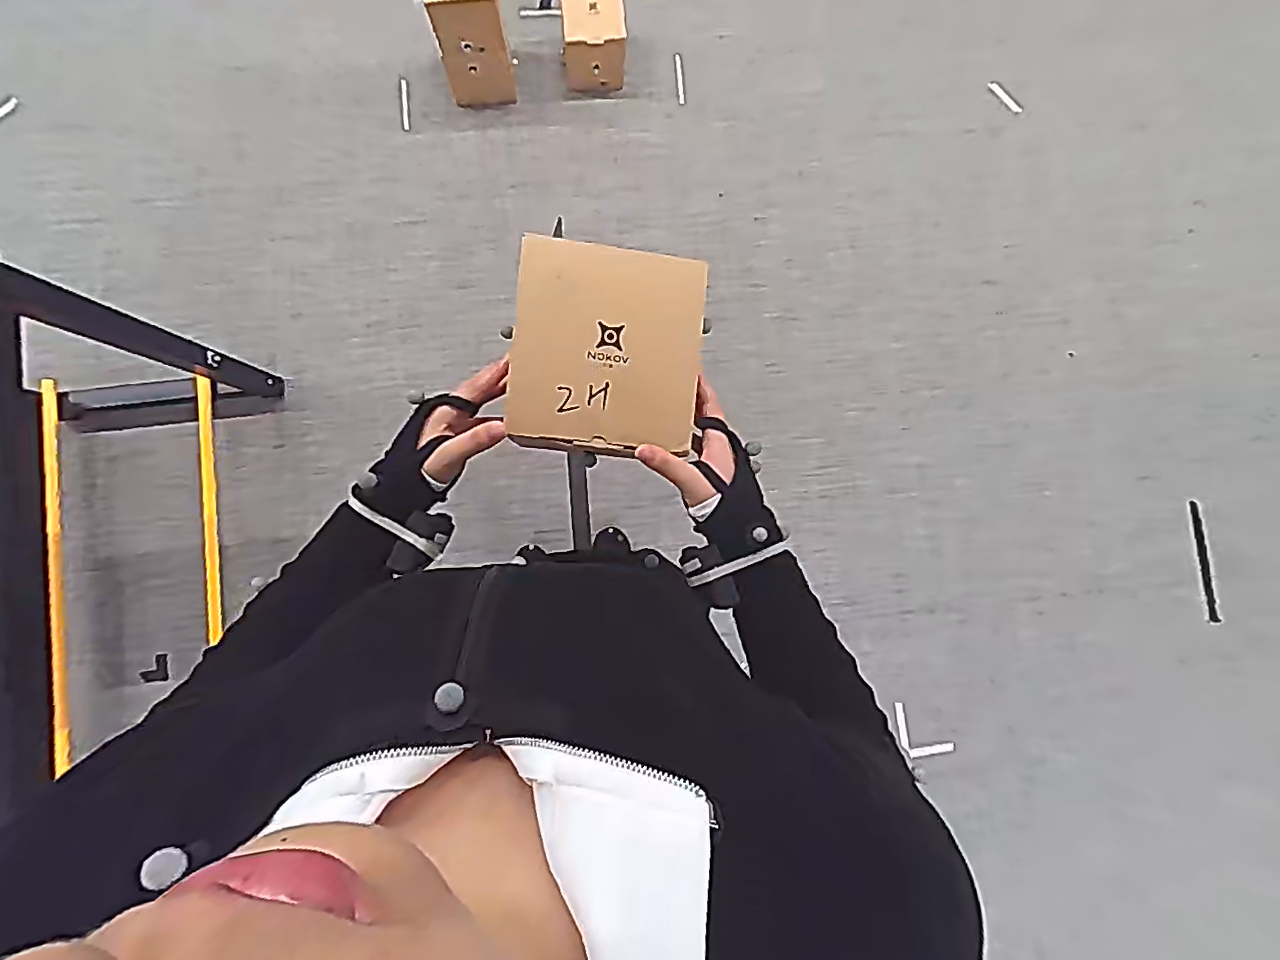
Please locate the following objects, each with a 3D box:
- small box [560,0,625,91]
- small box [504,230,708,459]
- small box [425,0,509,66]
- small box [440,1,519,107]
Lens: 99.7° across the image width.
[{"bbox_3d":[-0.130,-1.230,1.518,0.168,0.176,0.179,-5,87,-4],"label":"small box"},{"bbox_3d":[-0.038,-0.120,0.549,0.168,0.176,0.179,6,89,-7],"label":"small box"},{"bbox_3d":[-0.429,-1.174,1.330,0.168,0.176,0.179,-9,88,-2],"label":"small box"},{"bbox_3d":[-0.443,-1.166,1.492,0.179,0.176,0.168,-7,87,-4],"label":"small box"}]
